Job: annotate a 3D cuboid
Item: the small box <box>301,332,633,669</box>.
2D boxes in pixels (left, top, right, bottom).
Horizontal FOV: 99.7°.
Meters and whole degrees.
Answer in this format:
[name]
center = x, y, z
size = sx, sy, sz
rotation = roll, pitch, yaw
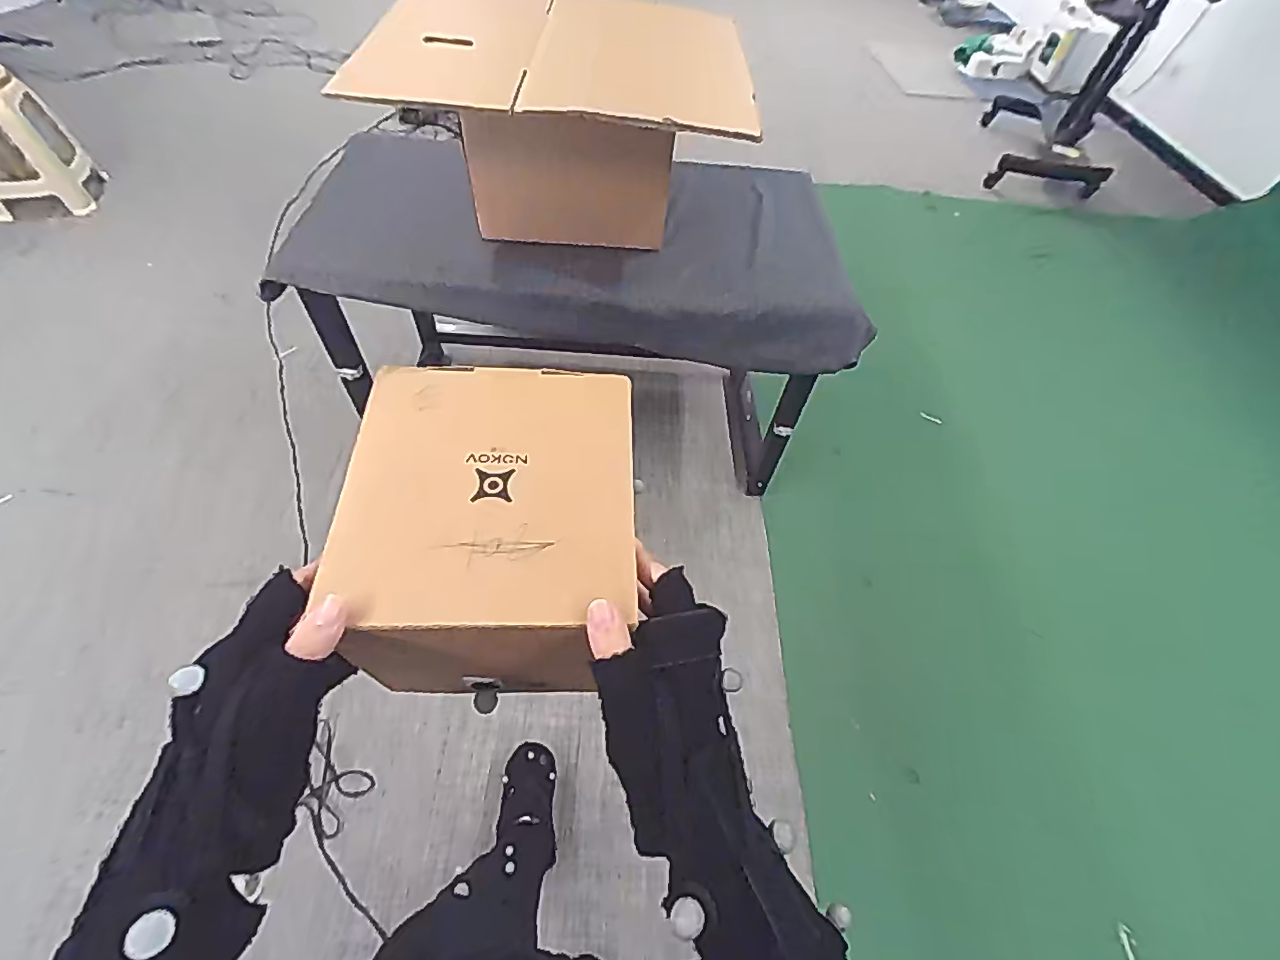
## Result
[small box]
center = -0.095, 0.023, 0.381
size = 0.168, 0.176, 0.179
rotation = 2, 58, -6
